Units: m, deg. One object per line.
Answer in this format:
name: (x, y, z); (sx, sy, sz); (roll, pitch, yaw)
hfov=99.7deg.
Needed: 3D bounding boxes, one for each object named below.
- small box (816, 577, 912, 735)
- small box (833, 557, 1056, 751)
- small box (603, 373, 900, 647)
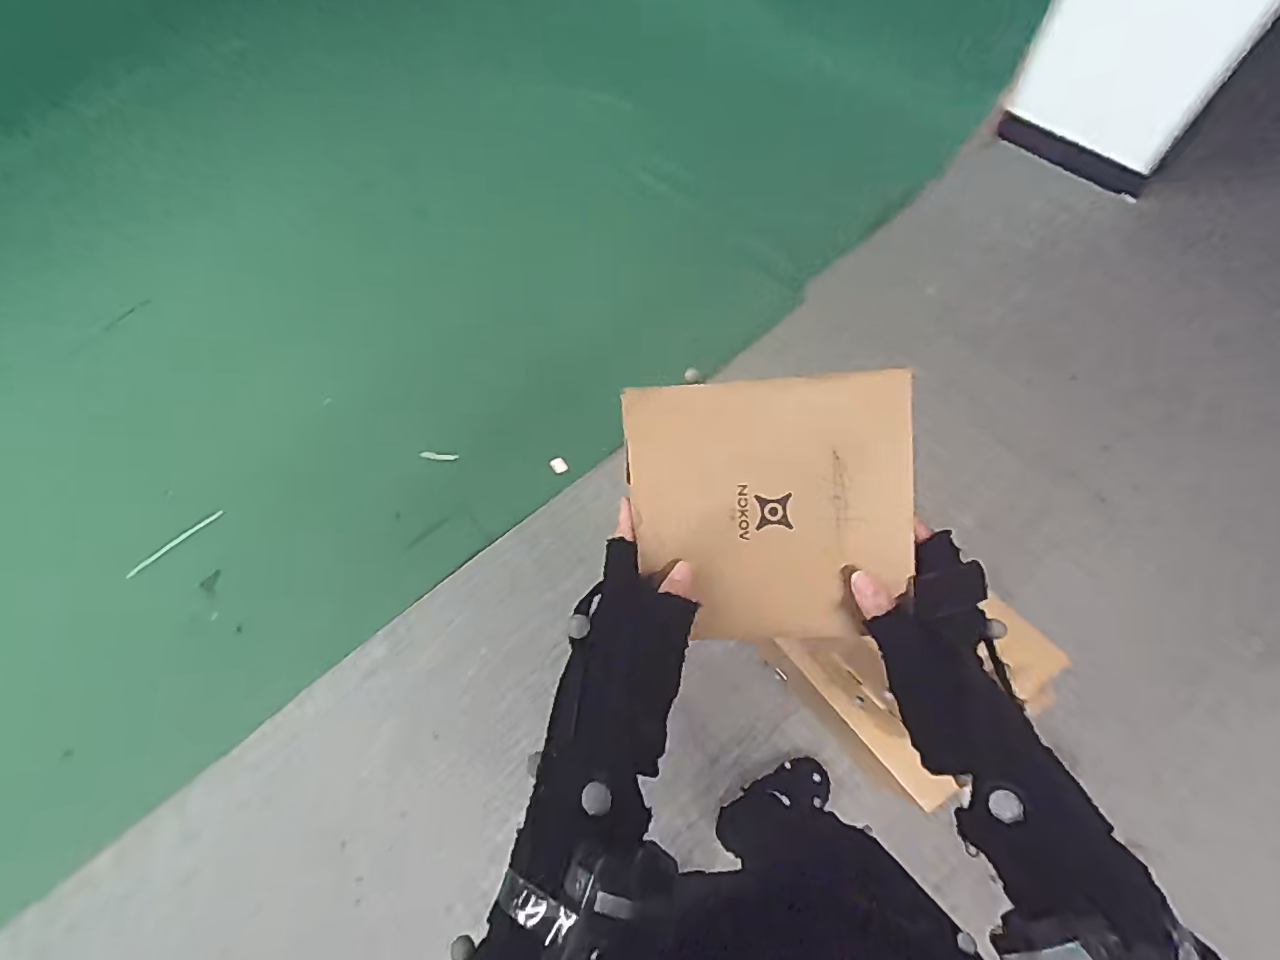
small box: (0.413, 0.292, 0.896); (0.179, 0.176, 0.168); (-41, 69, -9)
small box: (0.396, 0.236, 0.741); (0.168, 0.176, 0.179); (-38, 67, -8)
small box: (0.077, 0.012, 0.416); (0.179, 0.176, 0.168); (-5, 99, 5)
